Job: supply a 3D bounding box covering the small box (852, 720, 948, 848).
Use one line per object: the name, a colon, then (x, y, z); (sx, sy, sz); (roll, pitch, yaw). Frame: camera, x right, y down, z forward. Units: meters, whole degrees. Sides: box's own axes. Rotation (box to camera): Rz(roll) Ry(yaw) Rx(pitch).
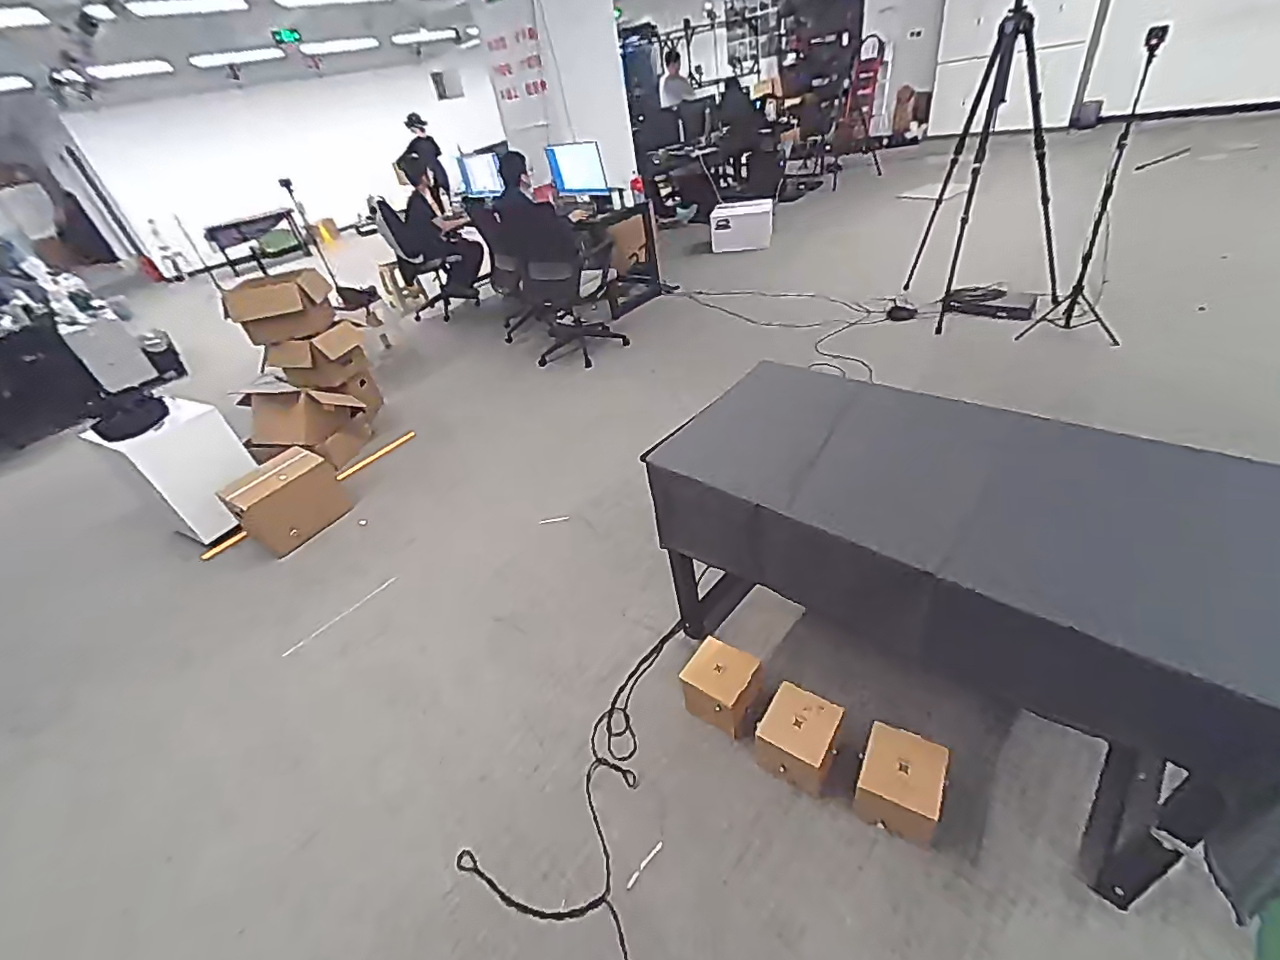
small box: (0.610, 0.717, 1.279); (0.168, 0.176, 0.179); (13, 43, 30)
